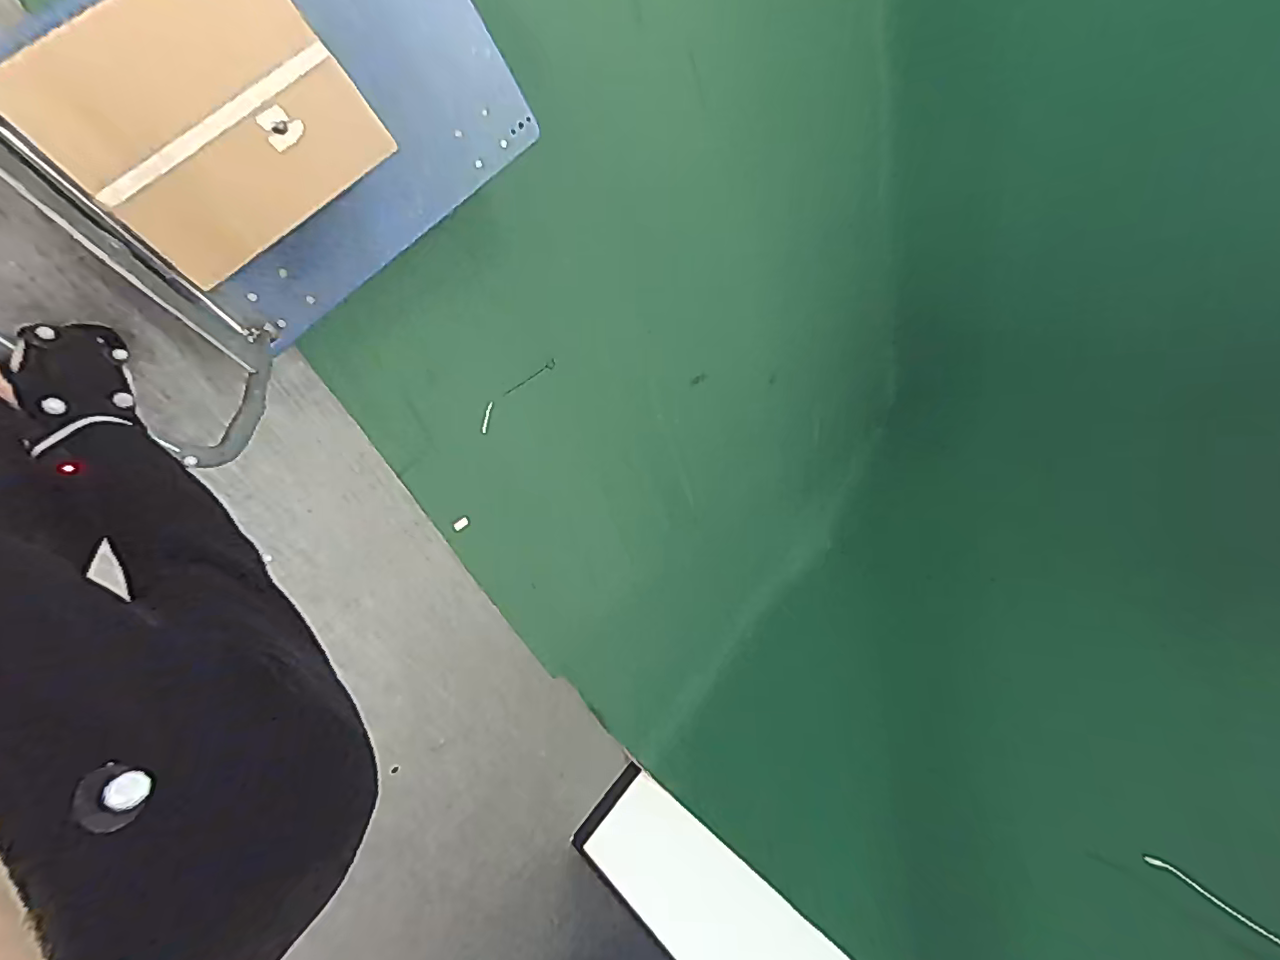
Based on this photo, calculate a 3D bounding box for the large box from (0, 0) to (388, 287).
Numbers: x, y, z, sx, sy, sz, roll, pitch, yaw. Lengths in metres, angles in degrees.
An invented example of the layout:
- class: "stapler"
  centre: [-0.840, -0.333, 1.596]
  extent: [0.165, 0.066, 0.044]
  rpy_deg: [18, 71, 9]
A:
- class: "large box"
  centre: [-0.721, -0.592, 0.922]
  extent: [0.408, 0.320, 0.320]
  rpy_deg: [-45, 130, -10]
